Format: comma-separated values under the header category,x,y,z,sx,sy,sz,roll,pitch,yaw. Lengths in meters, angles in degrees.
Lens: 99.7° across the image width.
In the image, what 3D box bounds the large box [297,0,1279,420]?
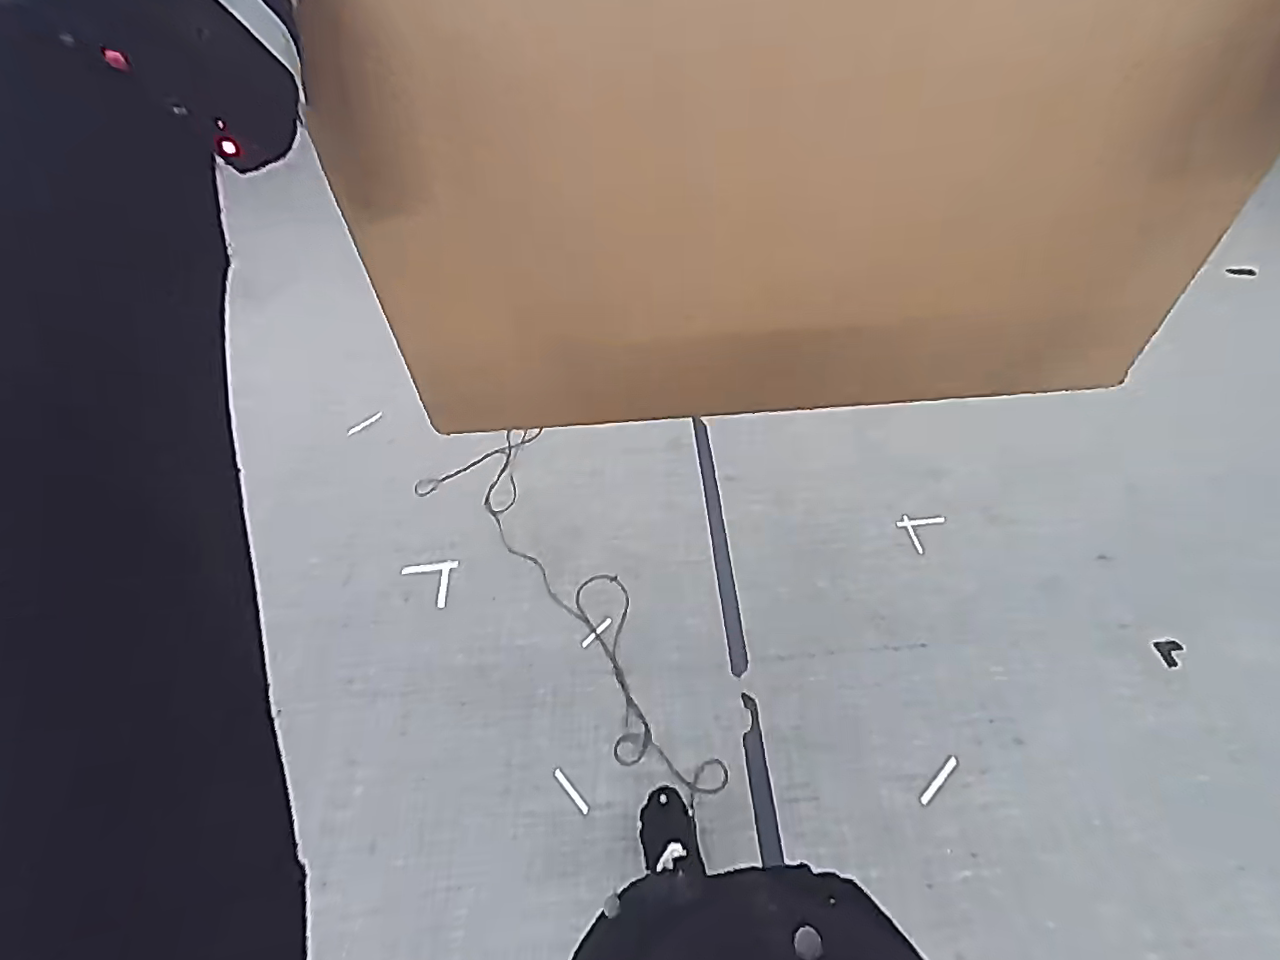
category,x,y,z,sx,sy,sz,roll,pitch,yaw
large box,0.061,-0.260,0.334,0.408,0.320,0.320,-4,45,-1
